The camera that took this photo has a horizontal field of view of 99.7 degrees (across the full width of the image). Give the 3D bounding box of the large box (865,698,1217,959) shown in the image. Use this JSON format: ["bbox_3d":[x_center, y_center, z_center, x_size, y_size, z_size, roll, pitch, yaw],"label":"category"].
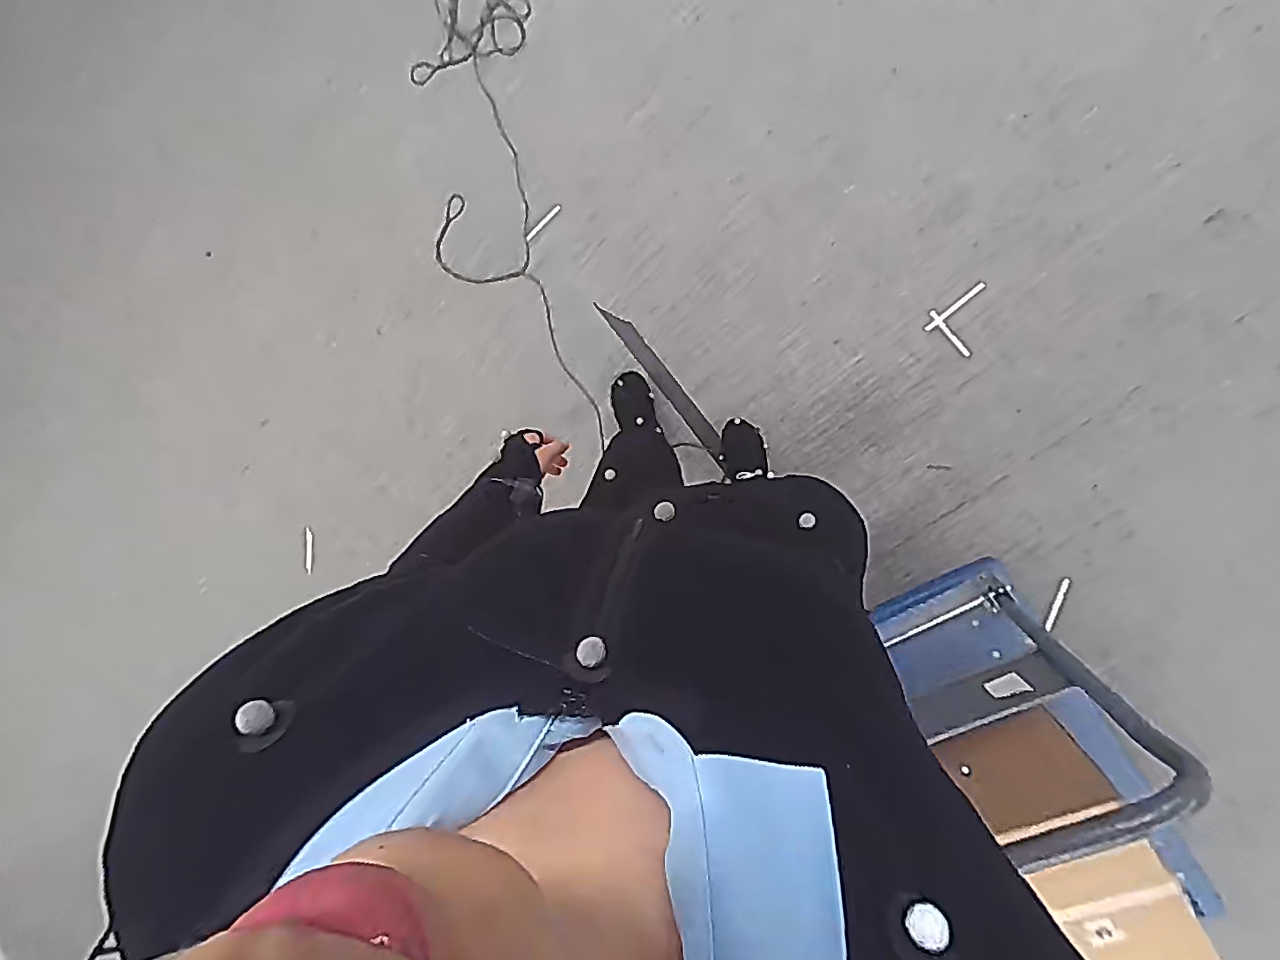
[{"bbox_3d":[0.727,0.708,1.068,0.408,0.320,0.320,-31,89,15],"label":"large box"}]
